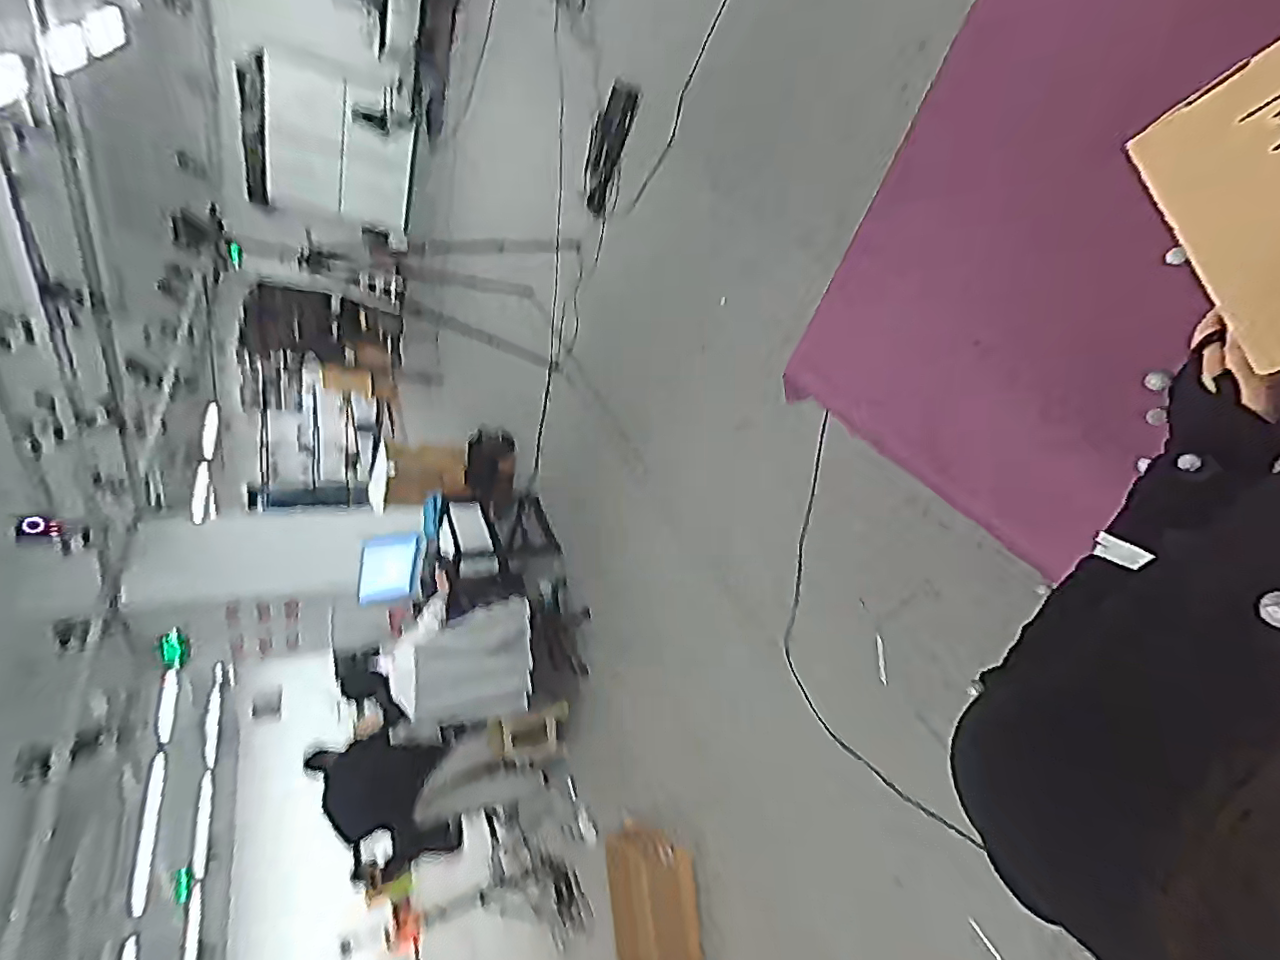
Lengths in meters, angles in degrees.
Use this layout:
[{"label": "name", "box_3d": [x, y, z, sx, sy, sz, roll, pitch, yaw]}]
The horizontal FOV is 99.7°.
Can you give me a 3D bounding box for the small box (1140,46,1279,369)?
[{"label": "small box", "box_3d": [0.458, -0.179, 0.324, 0.168, 0.176, 0.179, -32, 71, 54]}]
